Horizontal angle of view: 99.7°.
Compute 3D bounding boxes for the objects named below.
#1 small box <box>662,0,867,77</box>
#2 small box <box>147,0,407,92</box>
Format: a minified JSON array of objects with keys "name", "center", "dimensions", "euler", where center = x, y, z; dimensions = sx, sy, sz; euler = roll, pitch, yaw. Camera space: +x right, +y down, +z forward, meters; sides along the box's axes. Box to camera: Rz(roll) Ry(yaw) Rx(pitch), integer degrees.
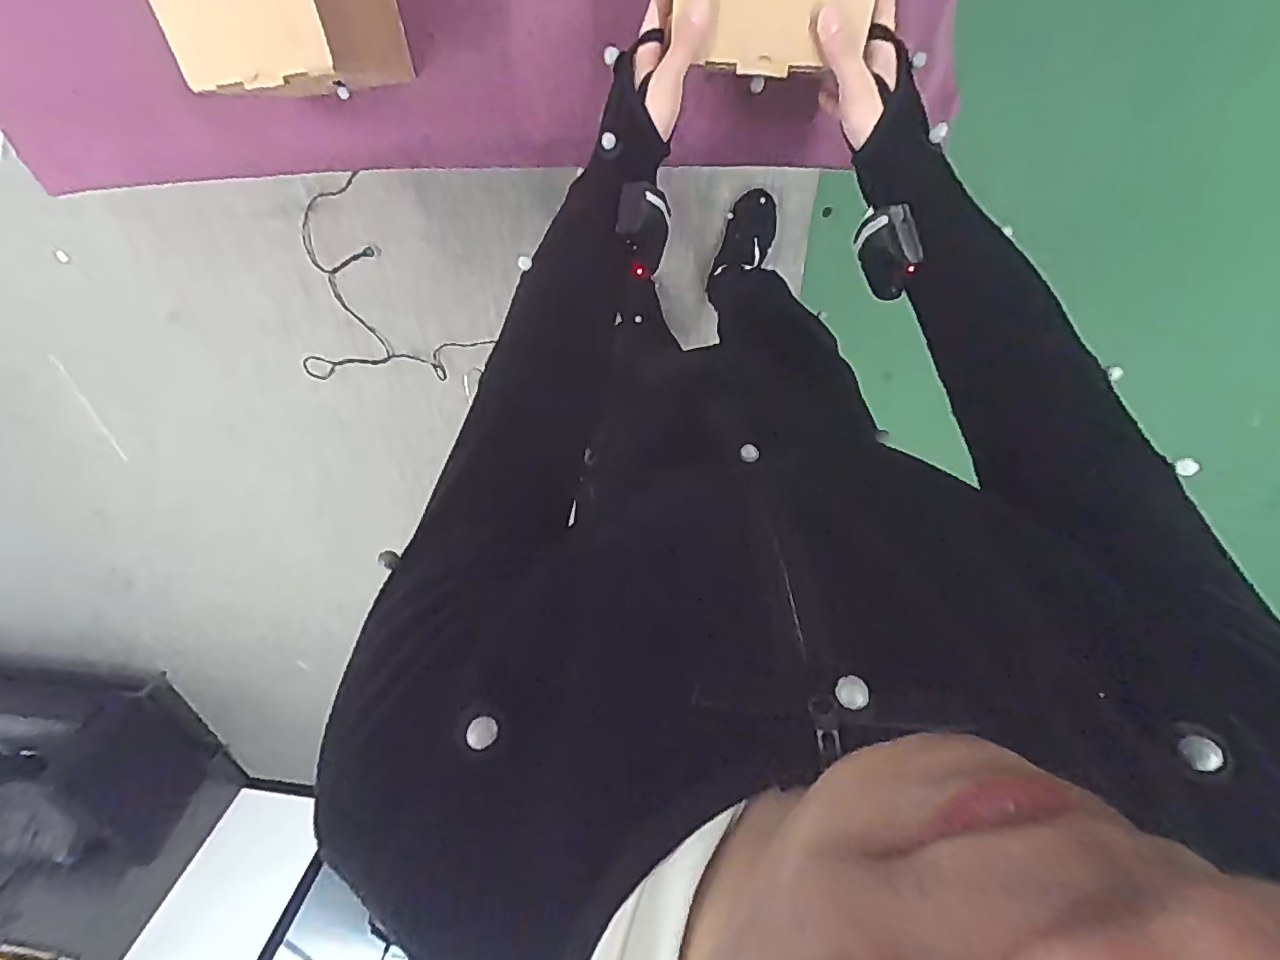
[{"name":"small box","center":[0.117,-0.471,0.478],"dimensions":[0.168,0.176,0.179],"euler":[7,127,5]},{"name":"small box","center":[-0.367,-0.506,0.544],"dimensions":[0.168,0.176,0.179],"euler":[0,124,9]}]
